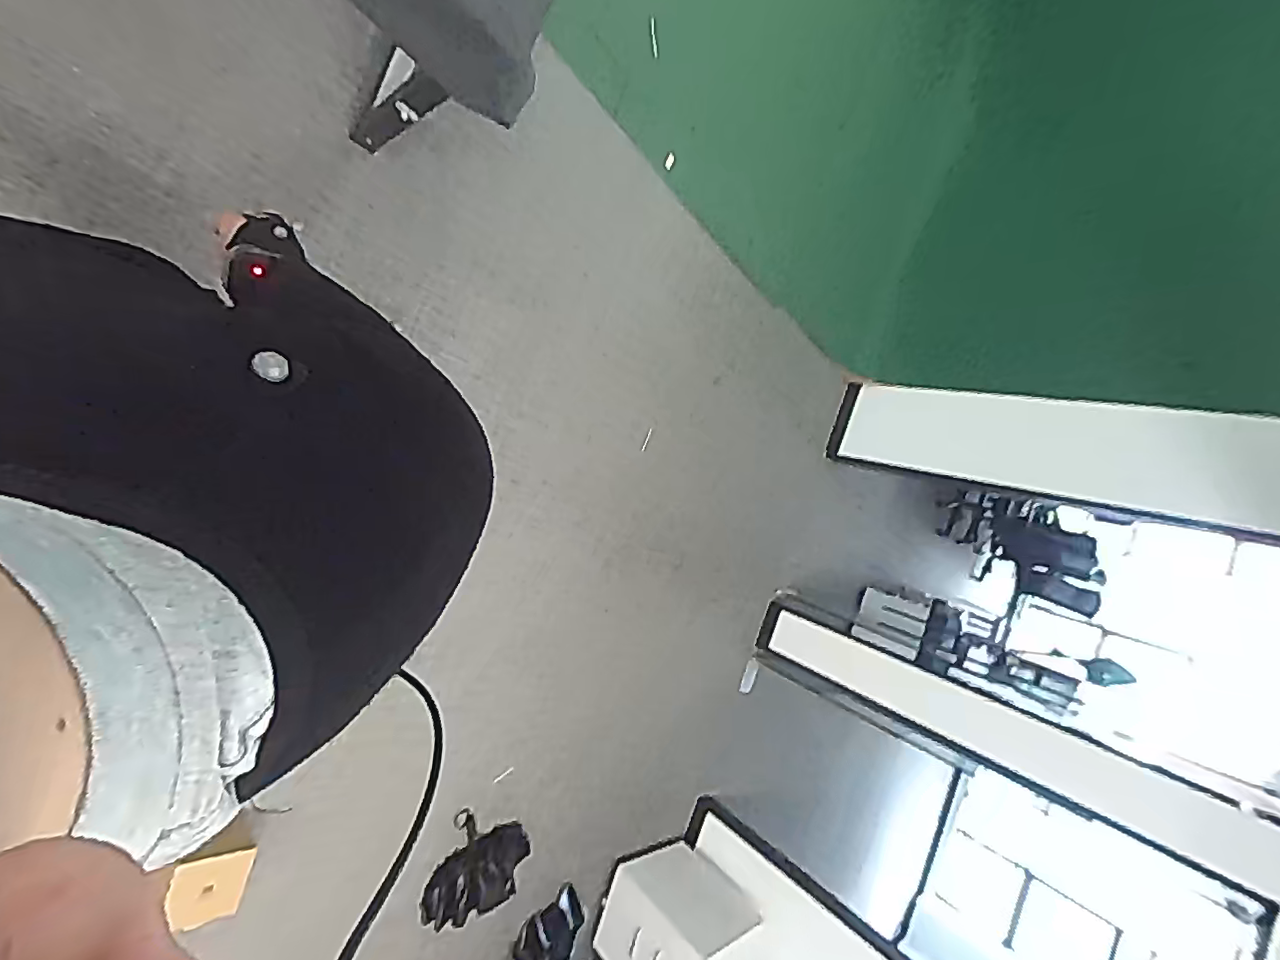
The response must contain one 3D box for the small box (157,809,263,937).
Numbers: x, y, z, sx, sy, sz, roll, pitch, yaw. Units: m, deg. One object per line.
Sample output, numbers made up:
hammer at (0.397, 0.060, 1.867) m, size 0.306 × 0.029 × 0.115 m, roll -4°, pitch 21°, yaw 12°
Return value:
small box at (-1.086, 0.977, 1.362) m, size 0.168 × 0.176 × 0.179 m, roll 18°, pitch 88°, yaw -47°
